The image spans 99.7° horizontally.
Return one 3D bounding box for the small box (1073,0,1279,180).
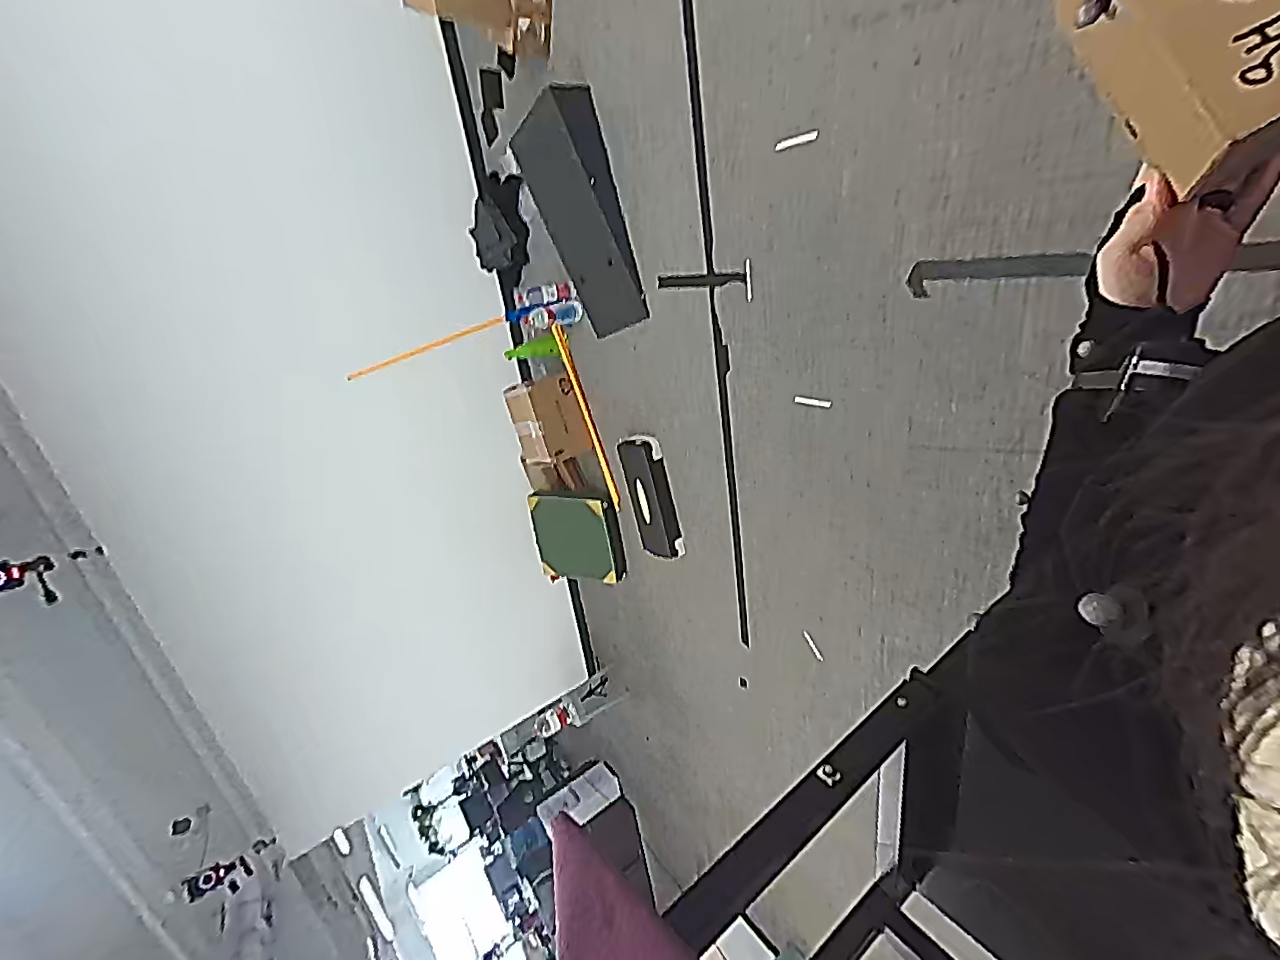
[{"bbox_3d":[0.331,-0.278,0.244,0.179,0.176,0.168,-28,83,40],"label":"small box"}]
